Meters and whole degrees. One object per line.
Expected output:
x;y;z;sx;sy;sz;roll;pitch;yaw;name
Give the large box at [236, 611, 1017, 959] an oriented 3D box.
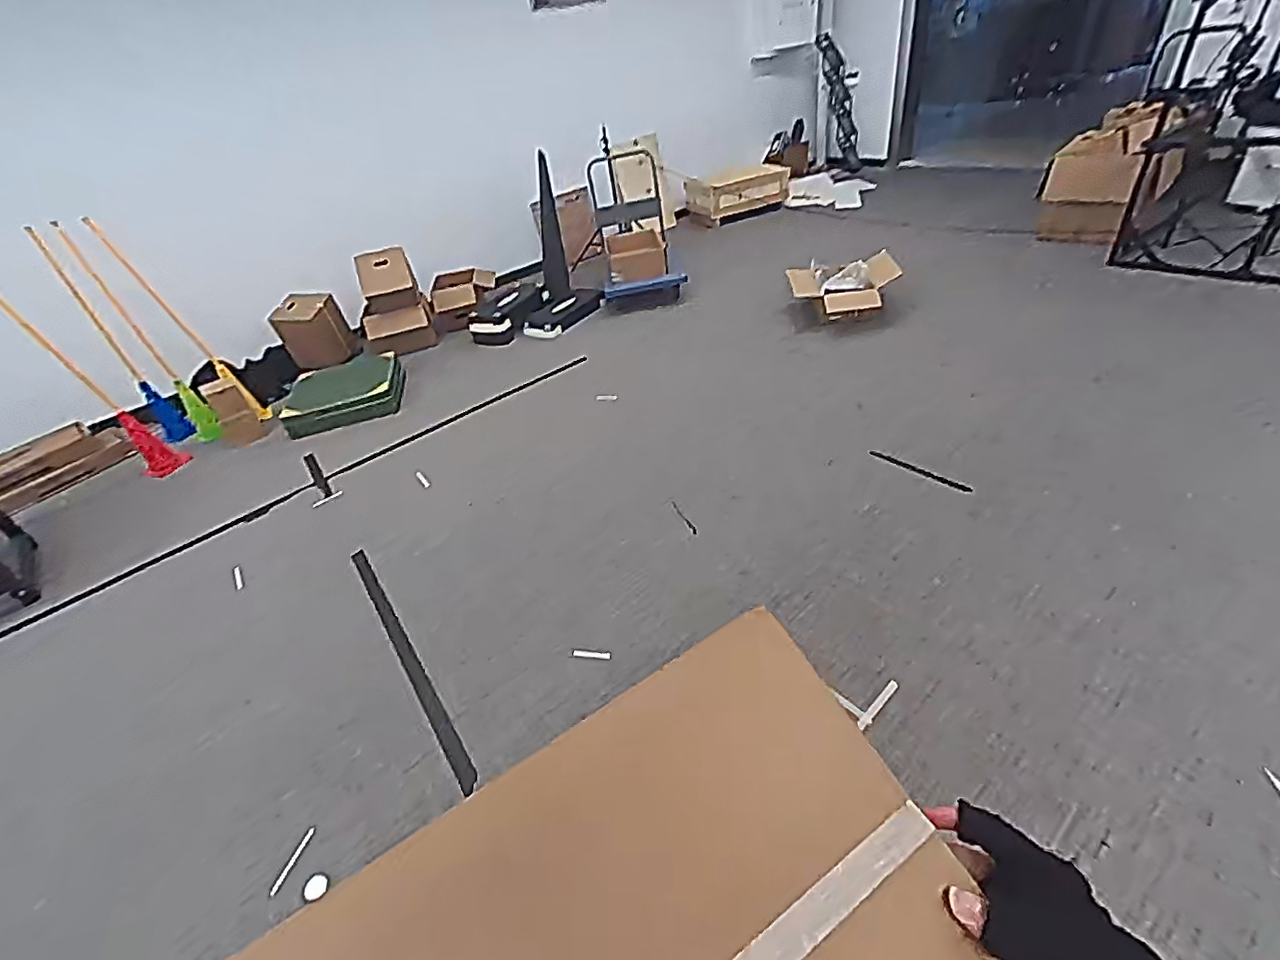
-0.007;0.373;0.411;0.408;0.320;0.320;-28;67;-18;large box
